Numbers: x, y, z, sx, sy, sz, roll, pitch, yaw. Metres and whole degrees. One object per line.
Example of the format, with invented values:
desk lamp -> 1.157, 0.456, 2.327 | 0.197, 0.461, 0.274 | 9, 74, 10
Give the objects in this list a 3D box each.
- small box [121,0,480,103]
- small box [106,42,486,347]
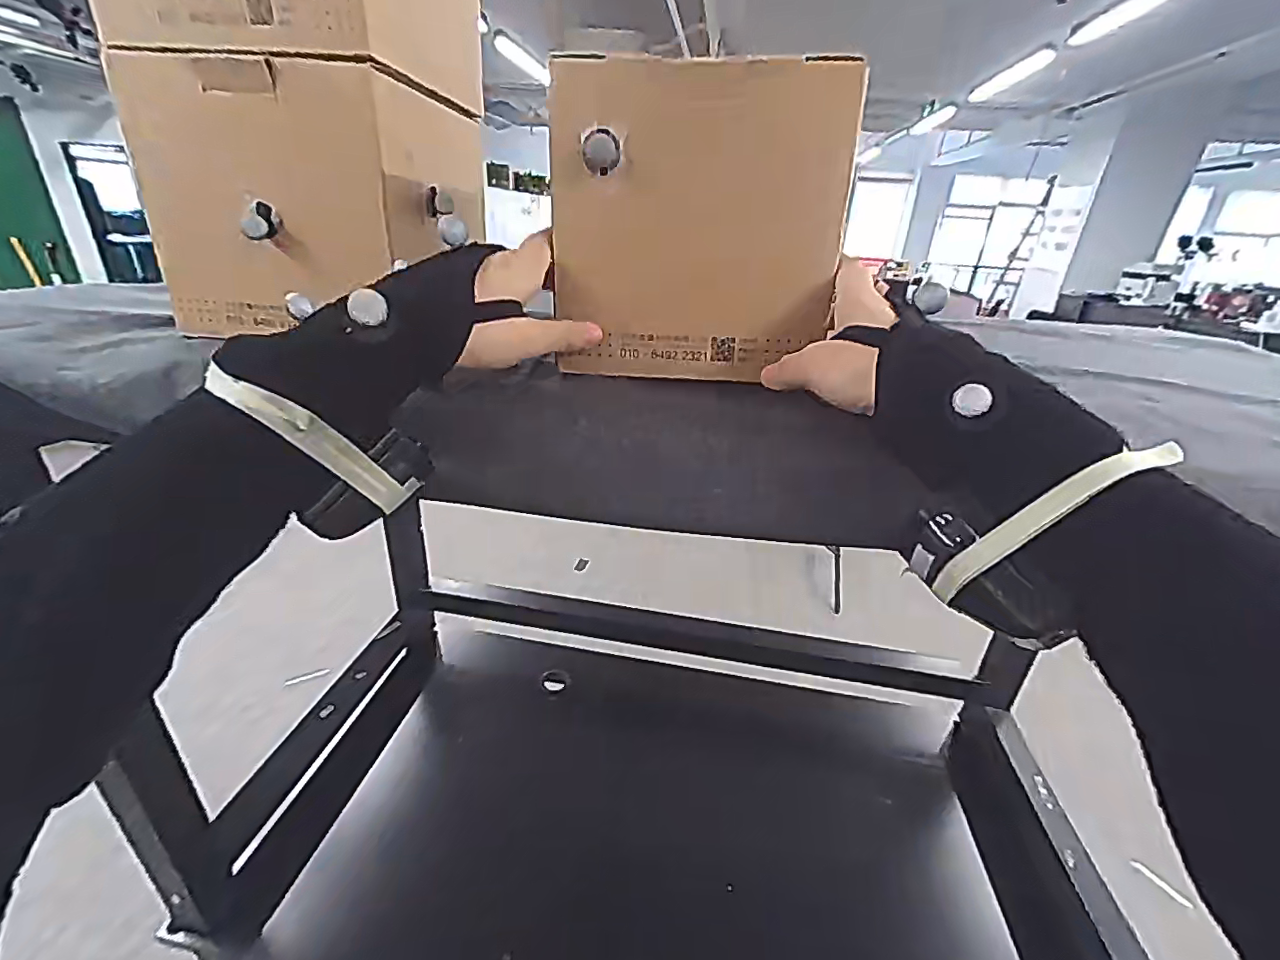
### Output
small box -> -0.212, -0.355, 0.349 | 0.168, 0.176, 0.179 | 5, 24, 4
small box -> -0.225, -0.204, 0.415 | 0.168, 0.176, 0.179 | 6, 25, 3
